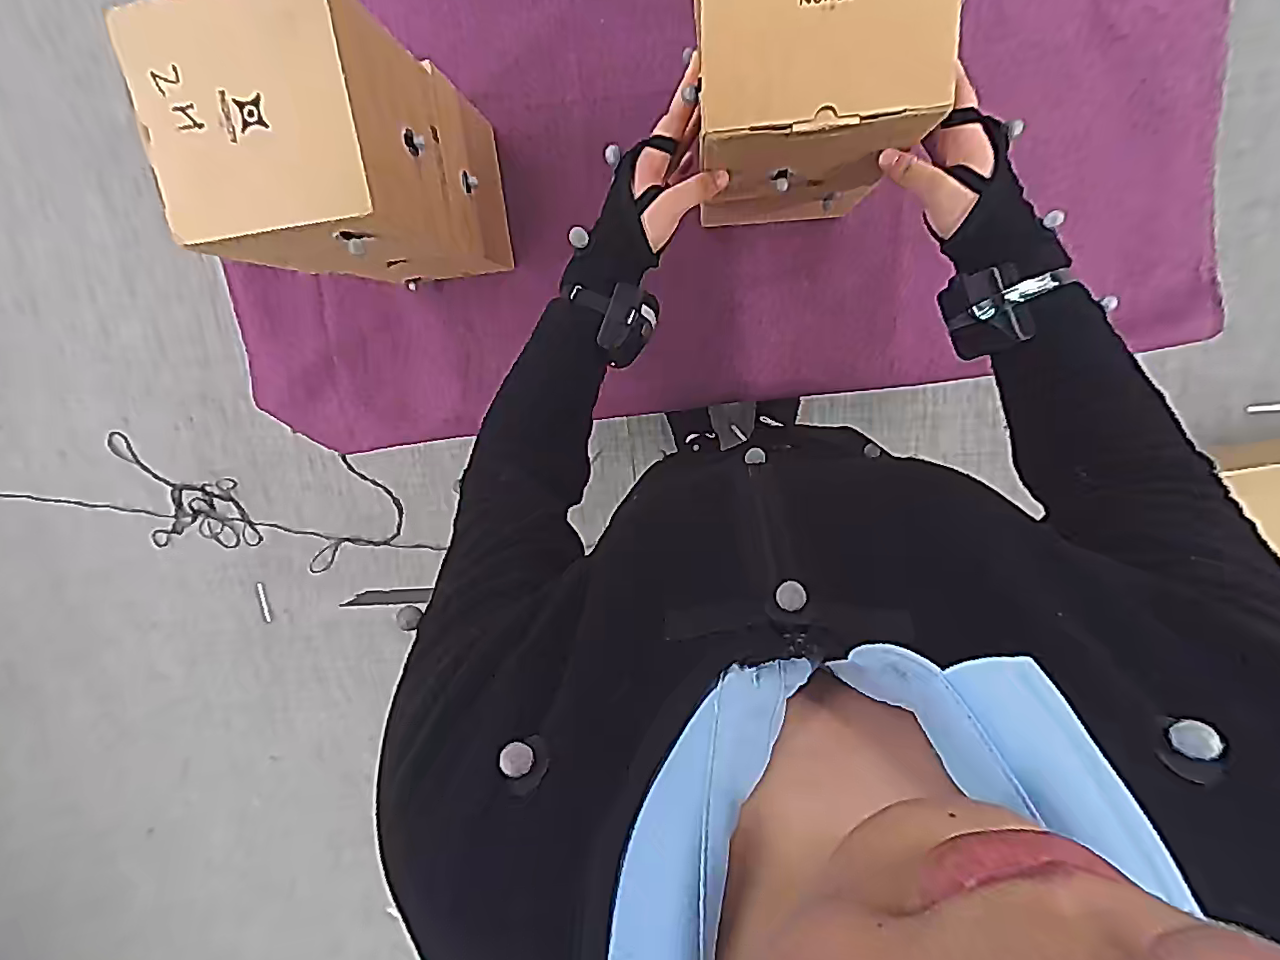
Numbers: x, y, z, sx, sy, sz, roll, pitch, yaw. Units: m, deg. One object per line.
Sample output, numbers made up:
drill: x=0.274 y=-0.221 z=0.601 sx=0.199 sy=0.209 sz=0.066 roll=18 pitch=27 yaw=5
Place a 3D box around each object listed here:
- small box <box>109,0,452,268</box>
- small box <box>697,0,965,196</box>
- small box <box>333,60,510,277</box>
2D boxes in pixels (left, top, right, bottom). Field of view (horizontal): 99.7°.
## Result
small box: x=-0.285 y=-0.293 z=0.478 sx=0.179 sy=0.176 sz=0.168 roll=-5 pitch=103 yaw=7
small box: x=0.130 y=-0.345 z=0.421 sx=0.168 sy=0.176 sz=0.179 roll=-2 pitch=104 yaw=7
small box: x=-0.265 y=-0.341 z=0.635 sx=0.168 sy=0.176 sz=0.179 roll=-5 pitch=103 yaw=7
